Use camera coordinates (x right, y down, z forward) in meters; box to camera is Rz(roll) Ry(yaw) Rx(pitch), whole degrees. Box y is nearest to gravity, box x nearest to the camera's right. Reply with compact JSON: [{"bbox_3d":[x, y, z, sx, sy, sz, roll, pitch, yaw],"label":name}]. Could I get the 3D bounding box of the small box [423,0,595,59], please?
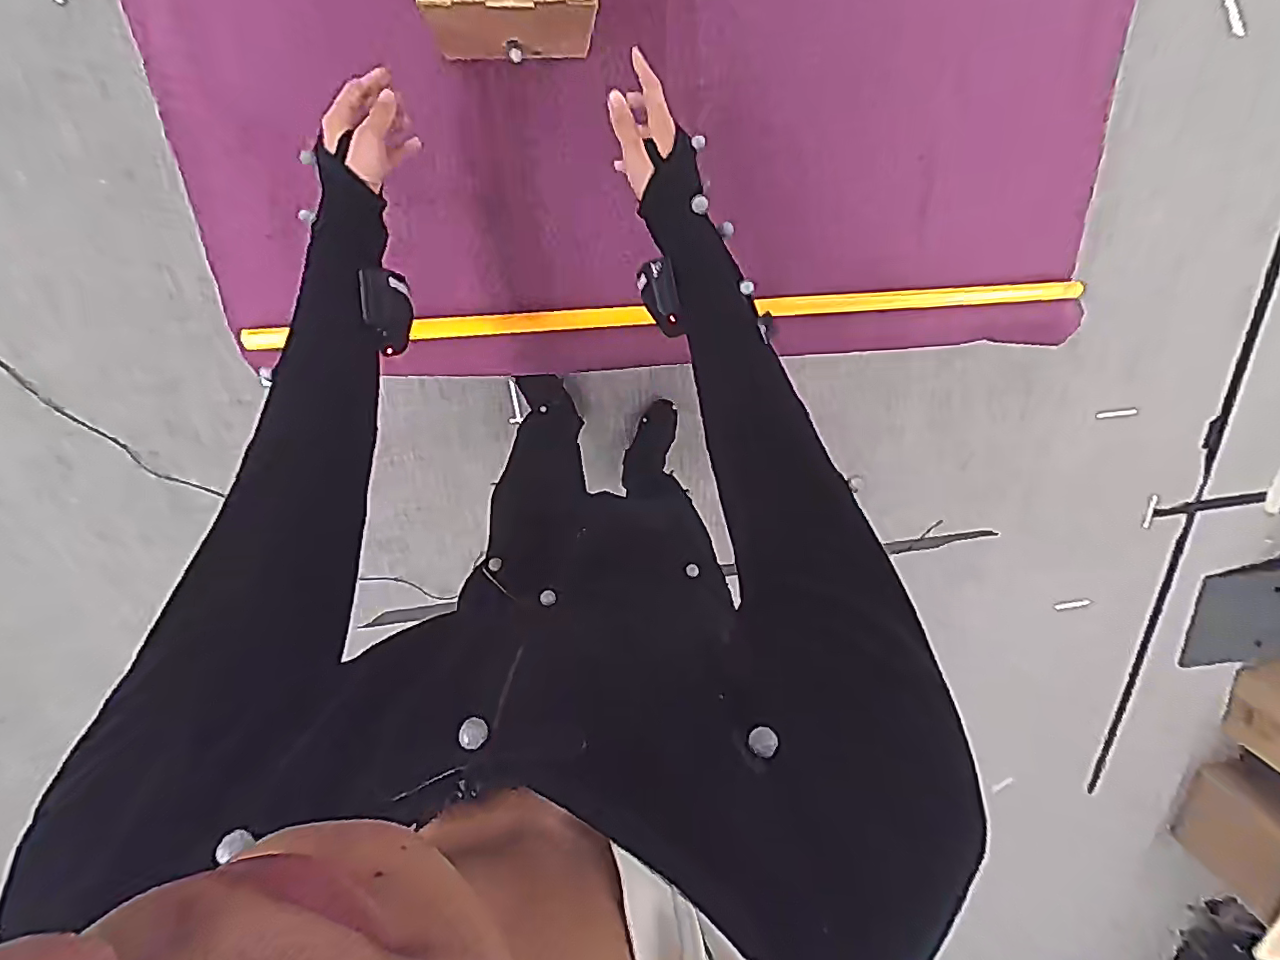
[{"bbox_3d":[-0.137,-0.548,0.532,0.168,0.176,0.179,-6,115,-6],"label":"small box"}]
